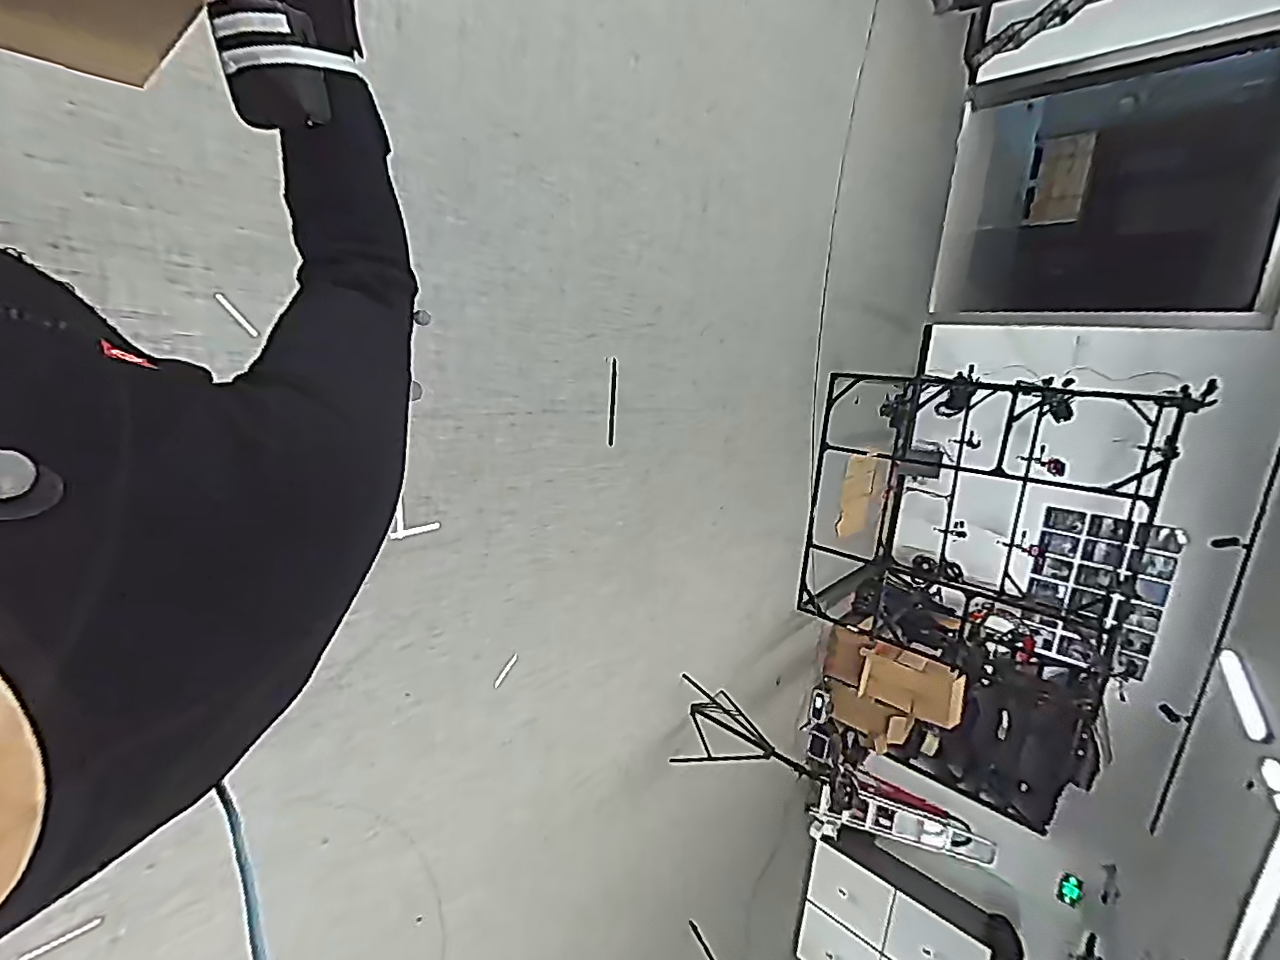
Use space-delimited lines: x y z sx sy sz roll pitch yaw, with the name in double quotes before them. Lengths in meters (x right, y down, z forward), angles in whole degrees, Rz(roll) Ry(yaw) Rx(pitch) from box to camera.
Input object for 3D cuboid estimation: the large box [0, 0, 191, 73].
"large box" -0.482 -0.456 0.232 0.408 0.320 0.320 -14 115 -48
